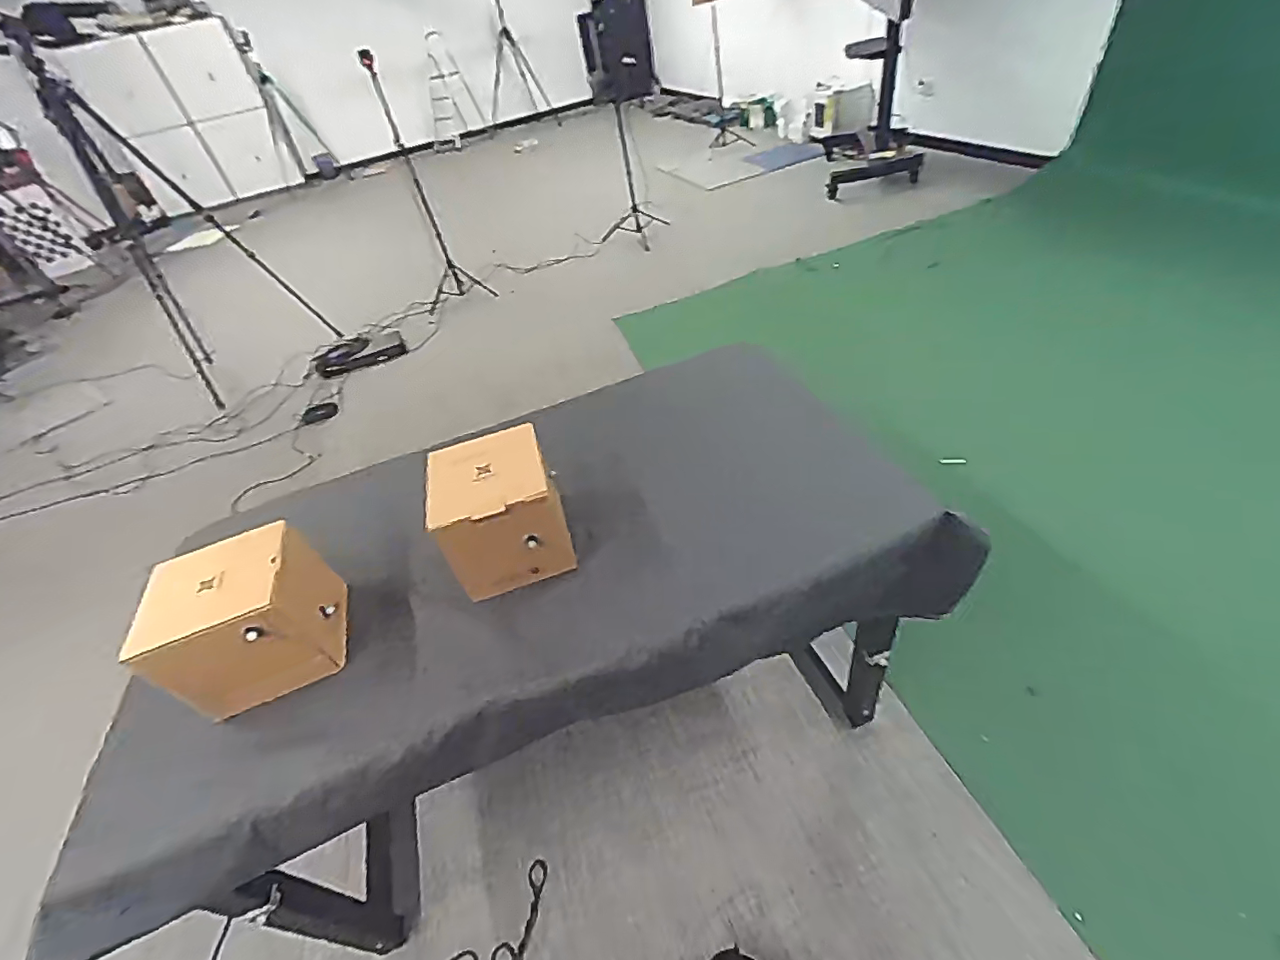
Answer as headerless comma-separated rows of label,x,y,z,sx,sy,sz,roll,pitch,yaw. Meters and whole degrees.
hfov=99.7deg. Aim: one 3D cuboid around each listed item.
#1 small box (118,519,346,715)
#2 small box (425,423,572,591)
small box,-0.542,0.191,0.750,0.179,0.176,0.168,-22,43,-10
small box,-0.212,0.046,0.825,0.168,0.176,0.179,-18,41,-7
